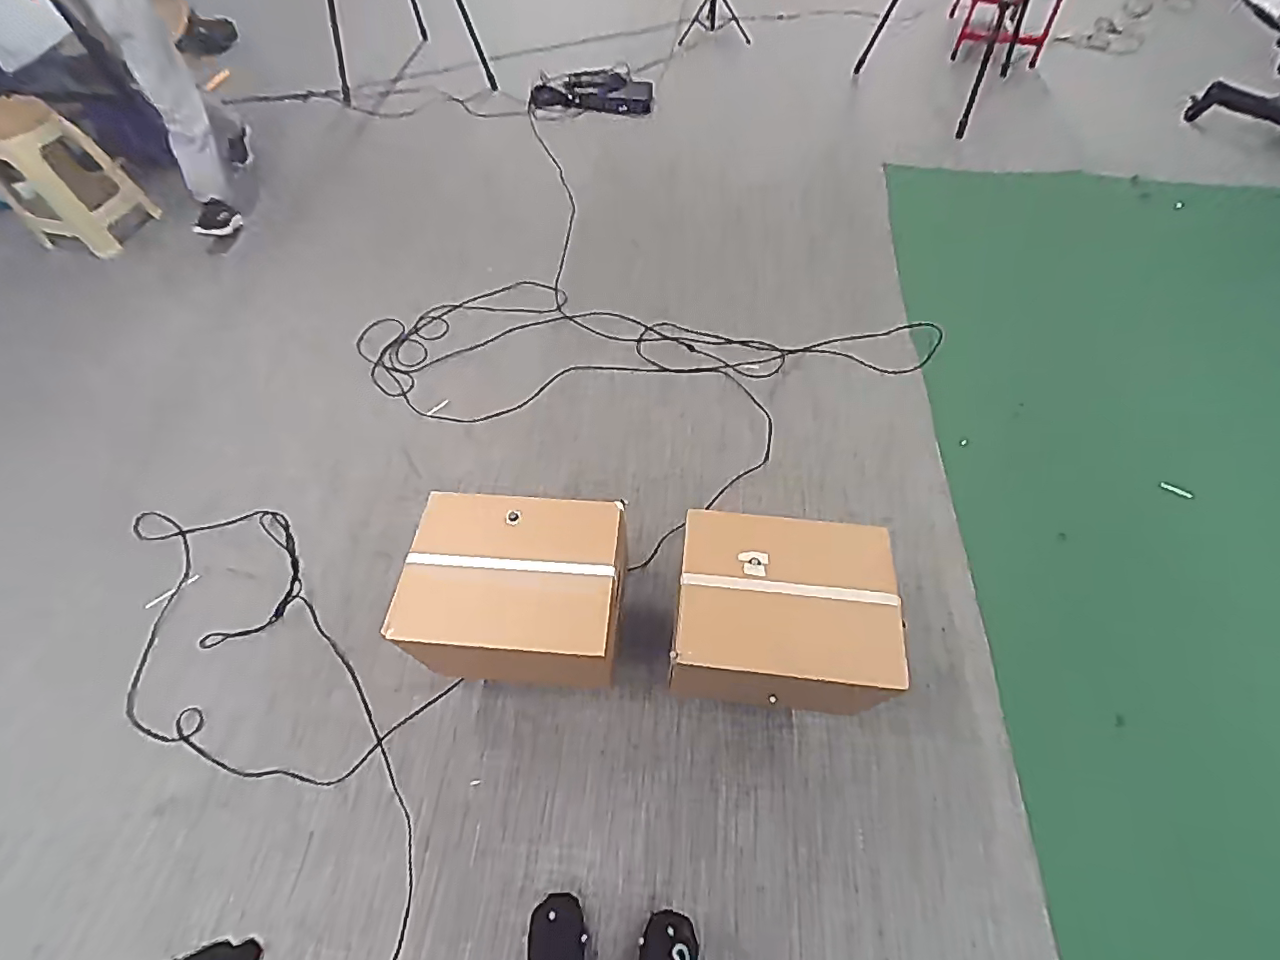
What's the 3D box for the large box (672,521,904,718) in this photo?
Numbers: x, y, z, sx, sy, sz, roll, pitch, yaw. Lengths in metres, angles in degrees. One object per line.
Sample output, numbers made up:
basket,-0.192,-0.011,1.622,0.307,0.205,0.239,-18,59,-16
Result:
large box,0.283,0.308,1.154,0.408,0.320,0.320,6,58,5
